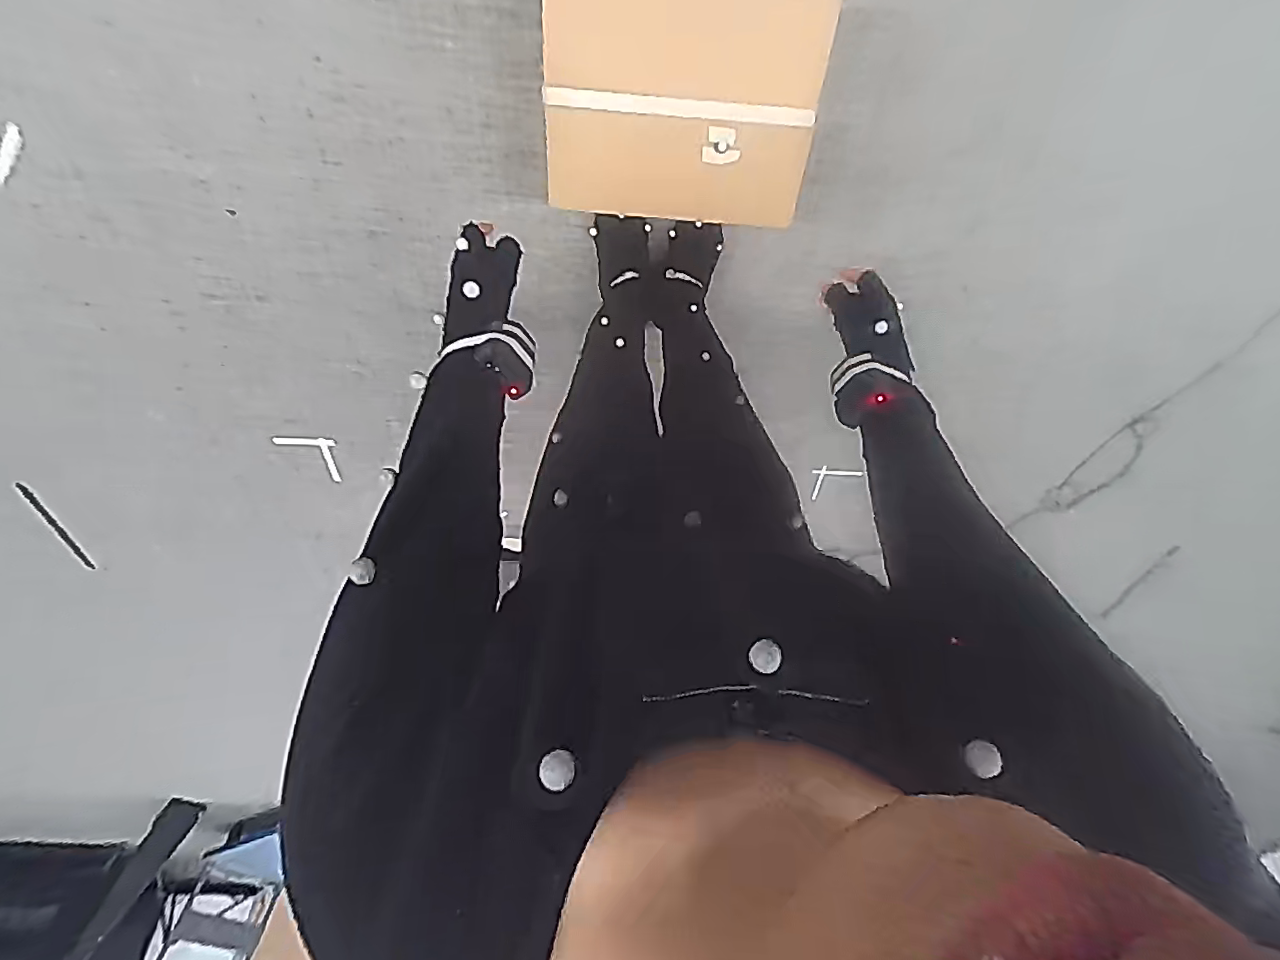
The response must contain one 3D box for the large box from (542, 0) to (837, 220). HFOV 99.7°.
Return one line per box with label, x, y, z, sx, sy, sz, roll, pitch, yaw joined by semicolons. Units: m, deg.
large box;0.058;-0.652;0.912;0.408;0.320;0.320;3;130;-3
